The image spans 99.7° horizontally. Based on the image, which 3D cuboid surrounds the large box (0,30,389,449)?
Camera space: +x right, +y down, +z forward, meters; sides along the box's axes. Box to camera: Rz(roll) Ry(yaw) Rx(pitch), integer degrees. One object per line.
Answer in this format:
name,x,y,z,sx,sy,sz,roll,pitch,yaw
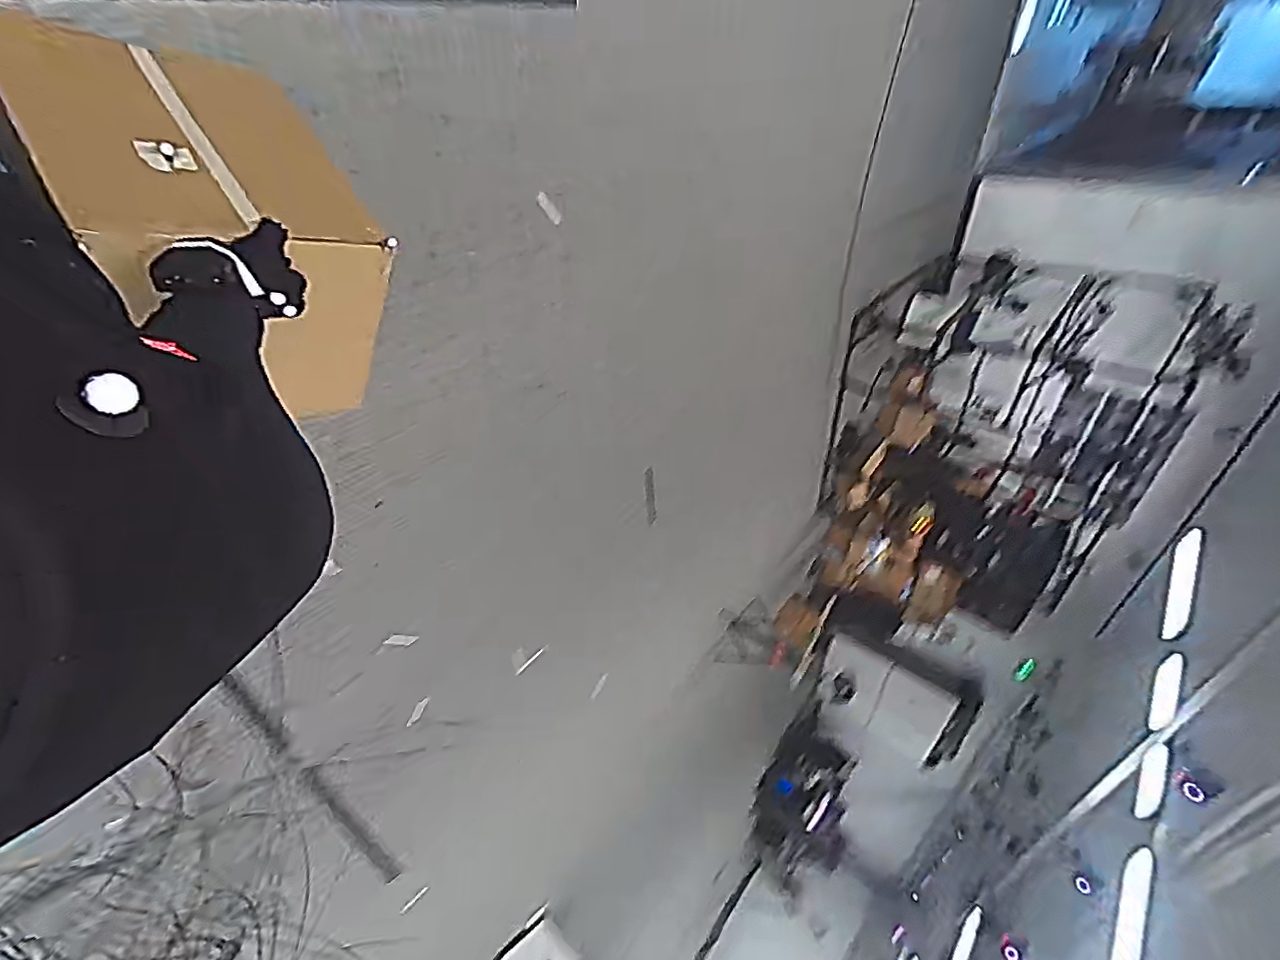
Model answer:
large box,-0.625,-0.312,0.761,0.320,0.408,0.320,-23,159,-46
